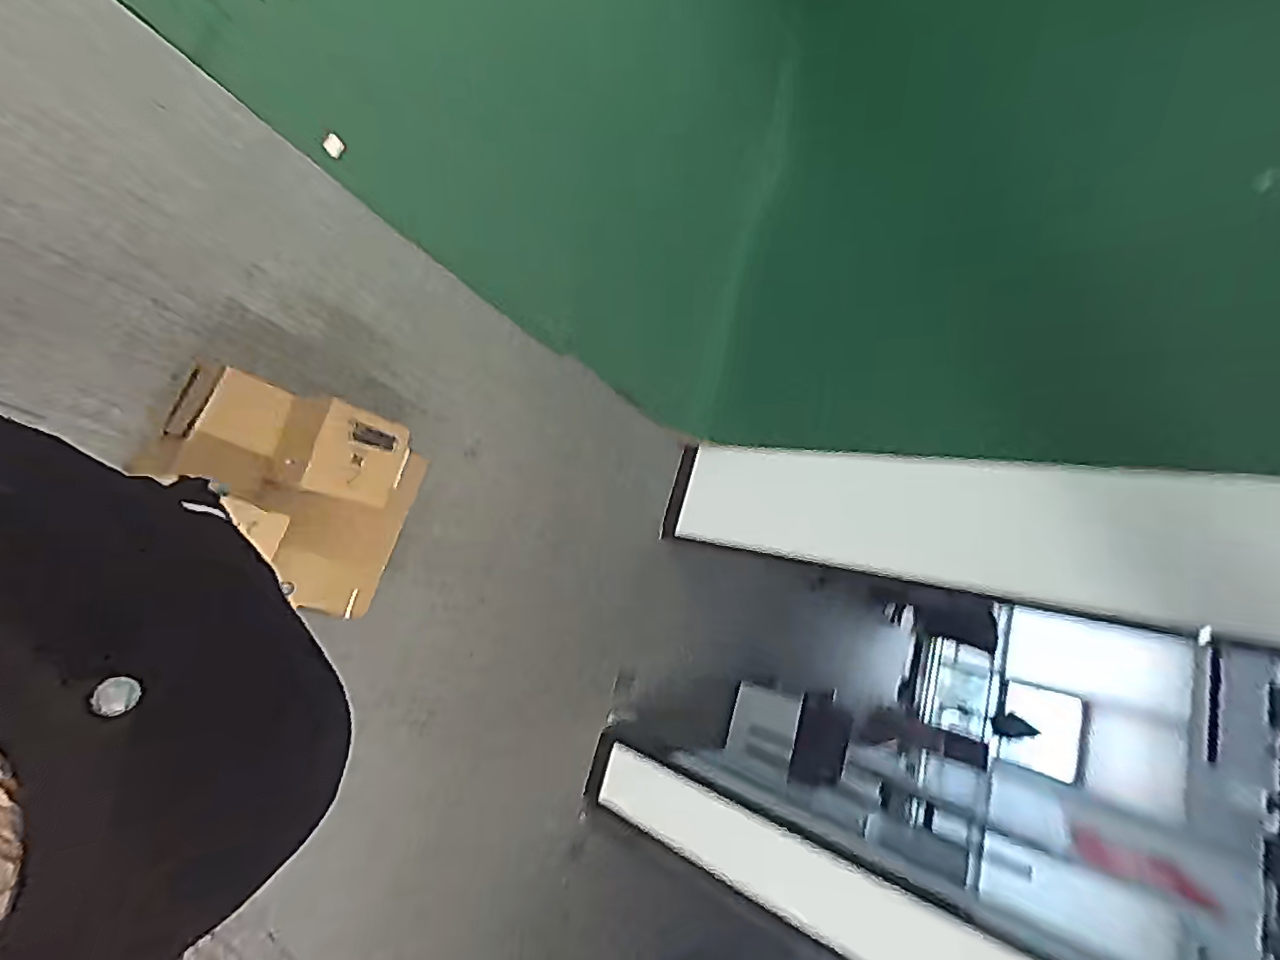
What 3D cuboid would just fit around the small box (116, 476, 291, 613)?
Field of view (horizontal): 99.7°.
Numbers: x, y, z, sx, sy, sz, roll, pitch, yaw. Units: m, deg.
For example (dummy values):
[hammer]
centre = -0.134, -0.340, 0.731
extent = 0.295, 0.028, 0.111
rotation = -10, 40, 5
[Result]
[small box]
centre = -0.753, 0.108, 0.930
extent = 0.168, 0.176, 0.179
rotation = 36, 69, -49
